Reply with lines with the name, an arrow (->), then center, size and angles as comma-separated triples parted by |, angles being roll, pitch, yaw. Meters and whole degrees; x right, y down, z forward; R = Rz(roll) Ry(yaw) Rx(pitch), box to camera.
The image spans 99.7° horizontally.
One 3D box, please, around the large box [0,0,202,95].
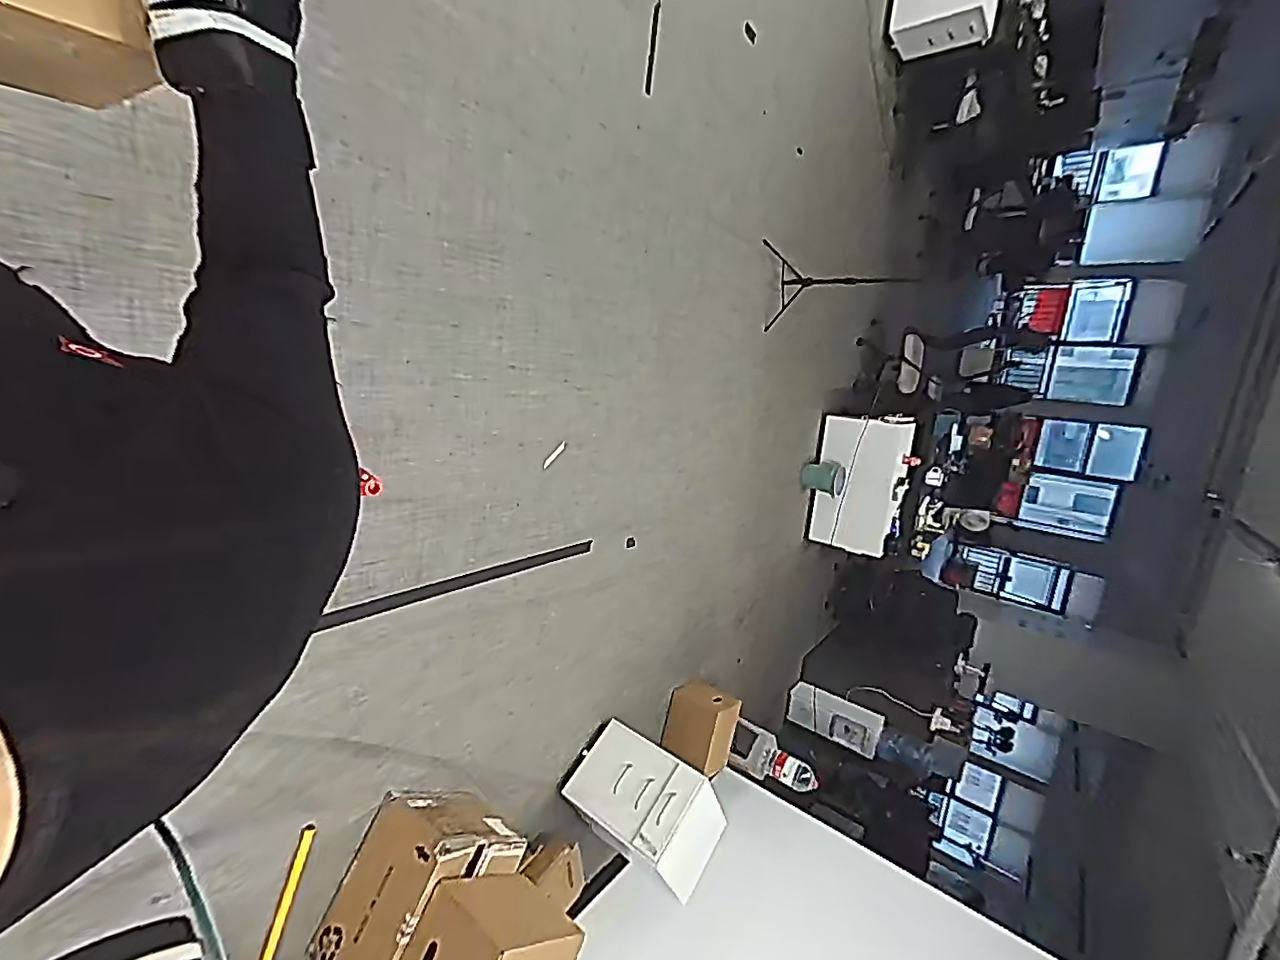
large box -> -0.526, -0.446, 0.260 | 0.408, 0.320, 0.320 | -16, 120, -51
